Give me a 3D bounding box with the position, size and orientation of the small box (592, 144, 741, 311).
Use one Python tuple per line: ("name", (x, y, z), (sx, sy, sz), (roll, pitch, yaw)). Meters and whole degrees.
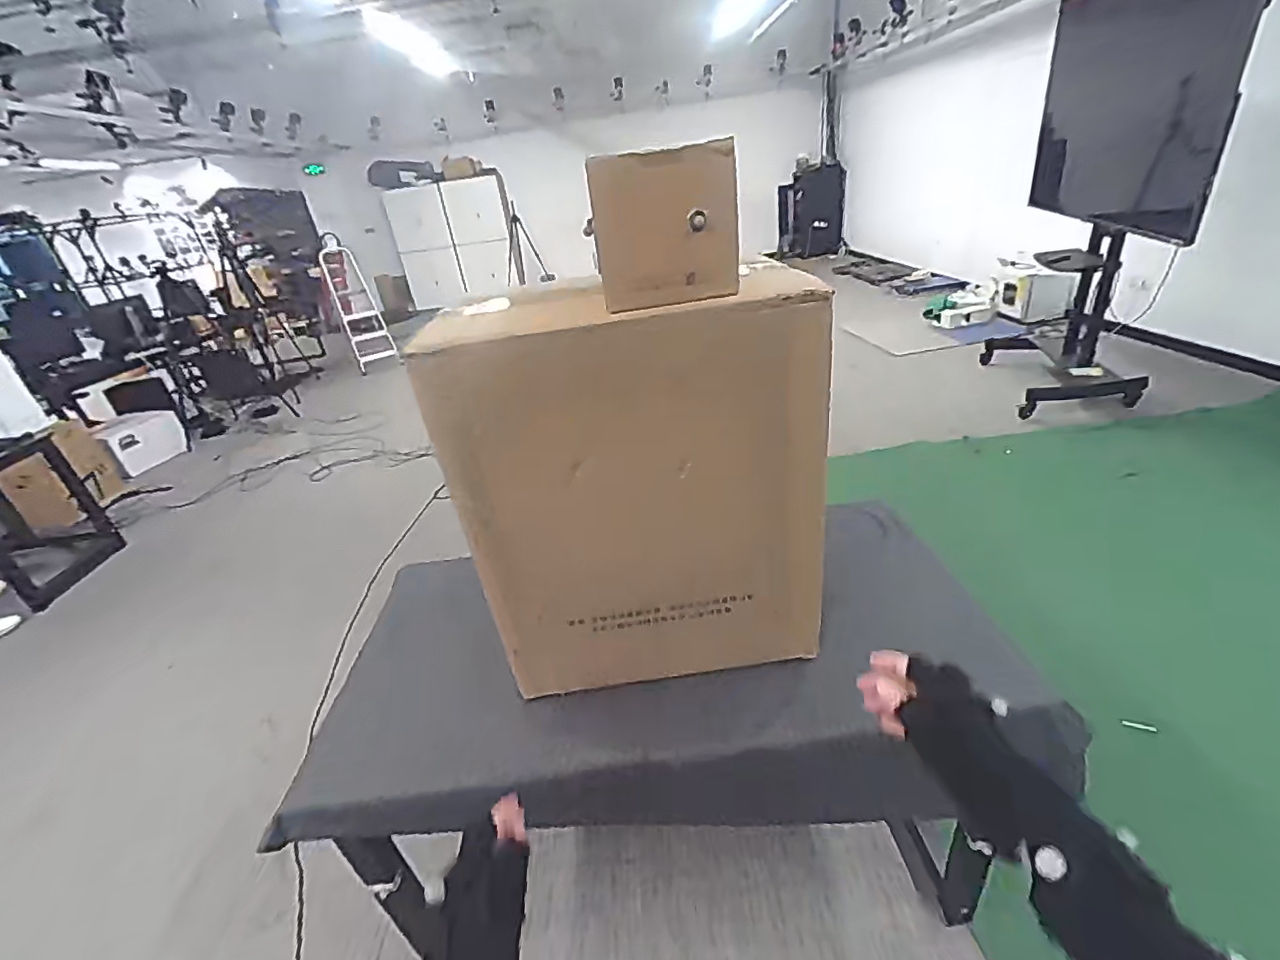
("small box", (0.033, -0.320, 0.694), (0.168, 0.176, 0.179), (-6, 29, 0))
